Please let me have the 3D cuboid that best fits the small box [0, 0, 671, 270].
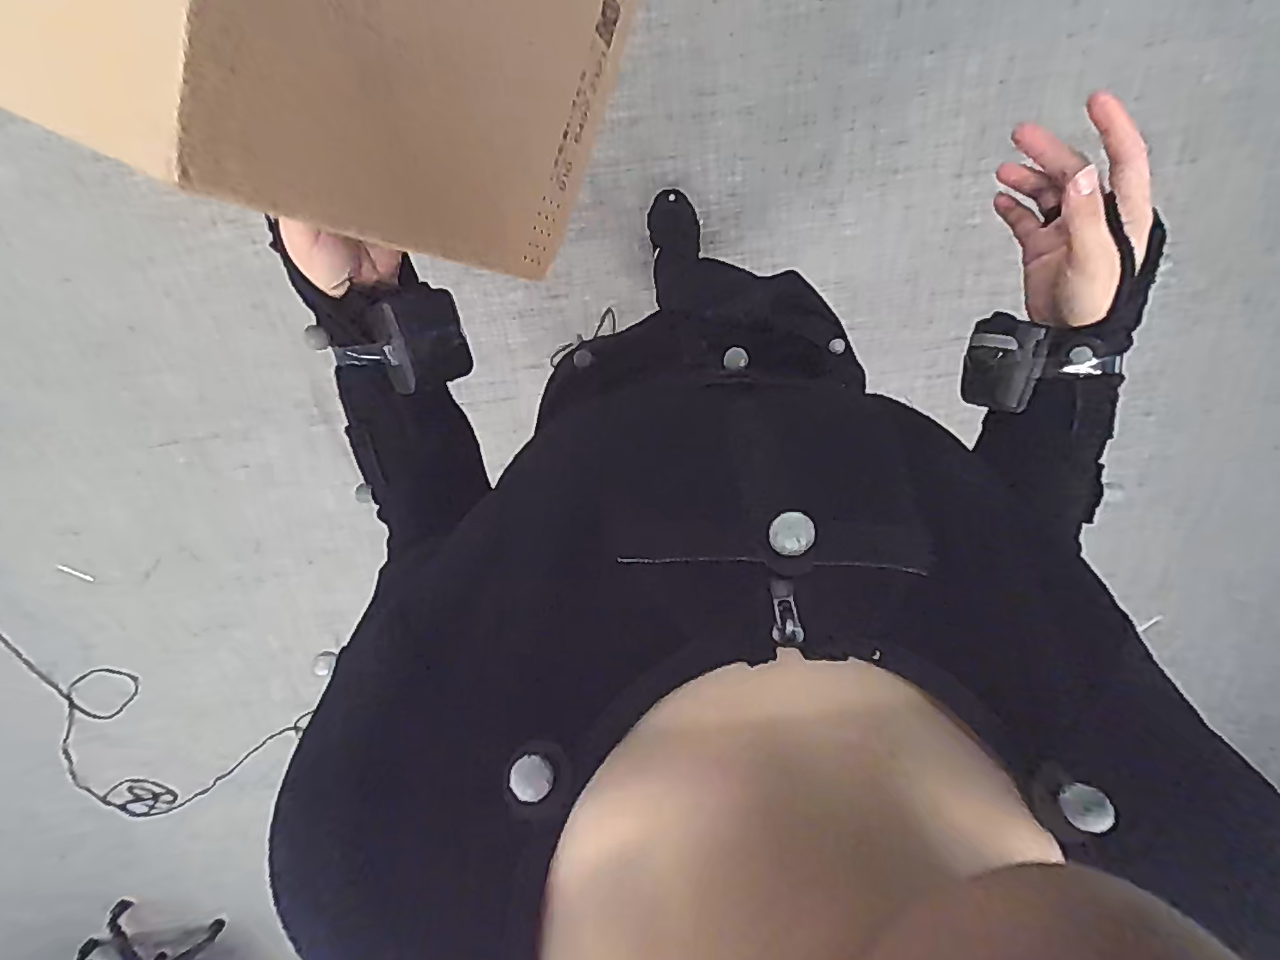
[{"bbox_3d":[-0.105,-0.187,0.185,0.179,0.176,0.168,26,110,11],"label":"small box"}]
